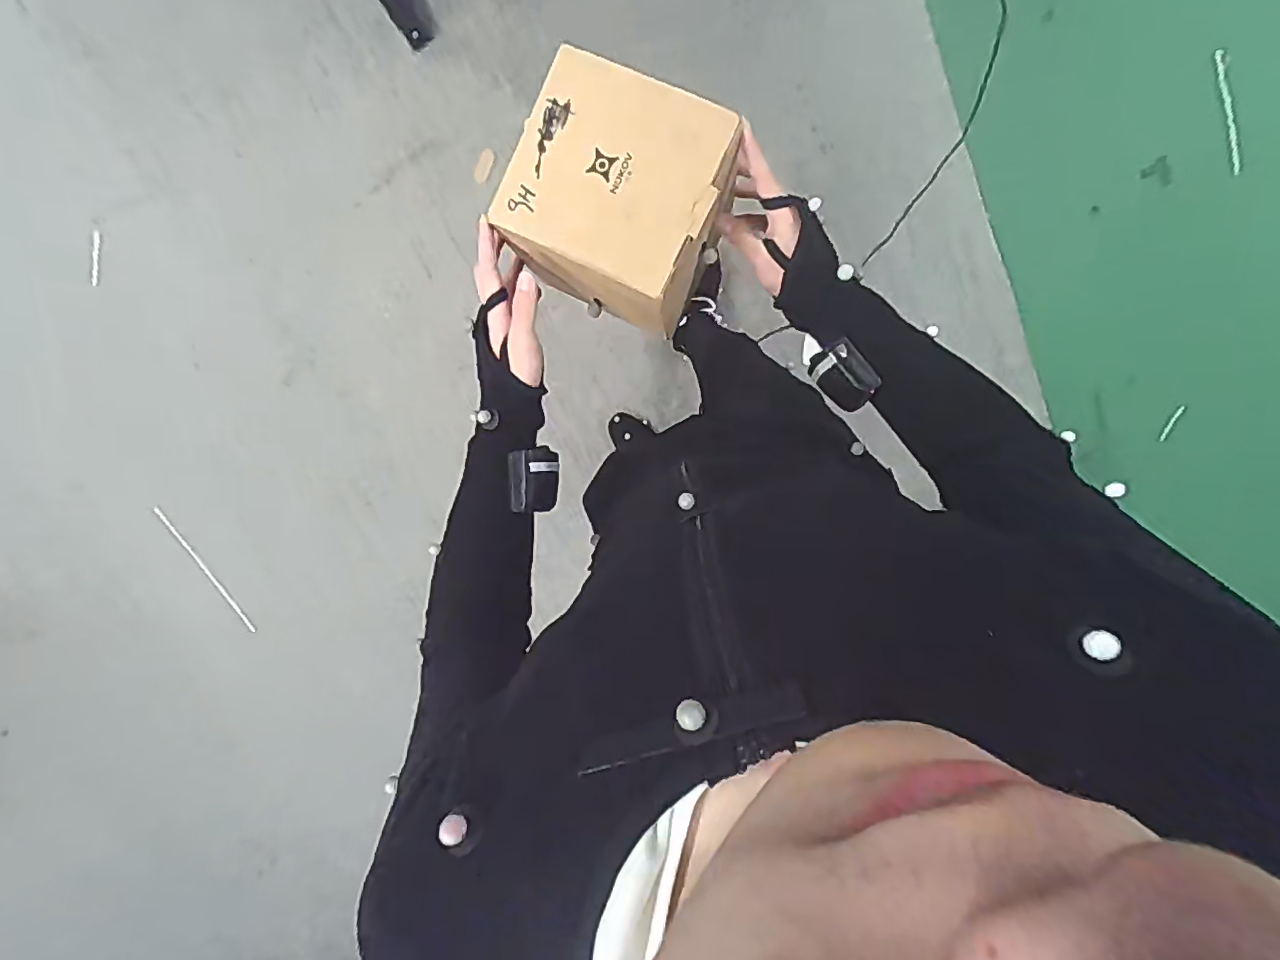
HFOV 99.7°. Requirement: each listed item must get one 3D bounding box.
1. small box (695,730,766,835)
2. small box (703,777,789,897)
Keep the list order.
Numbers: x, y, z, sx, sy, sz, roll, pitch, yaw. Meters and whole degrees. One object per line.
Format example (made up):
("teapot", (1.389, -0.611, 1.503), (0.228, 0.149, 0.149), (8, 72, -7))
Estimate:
("small box", (0.242, 0.809, 1.453), (0.168, 0.176, 0.179), (-7, 103, 0))
("small box", (0.248, 0.841, 1.293), (0.168, 0.176, 0.179), (-8, 104, 1))
